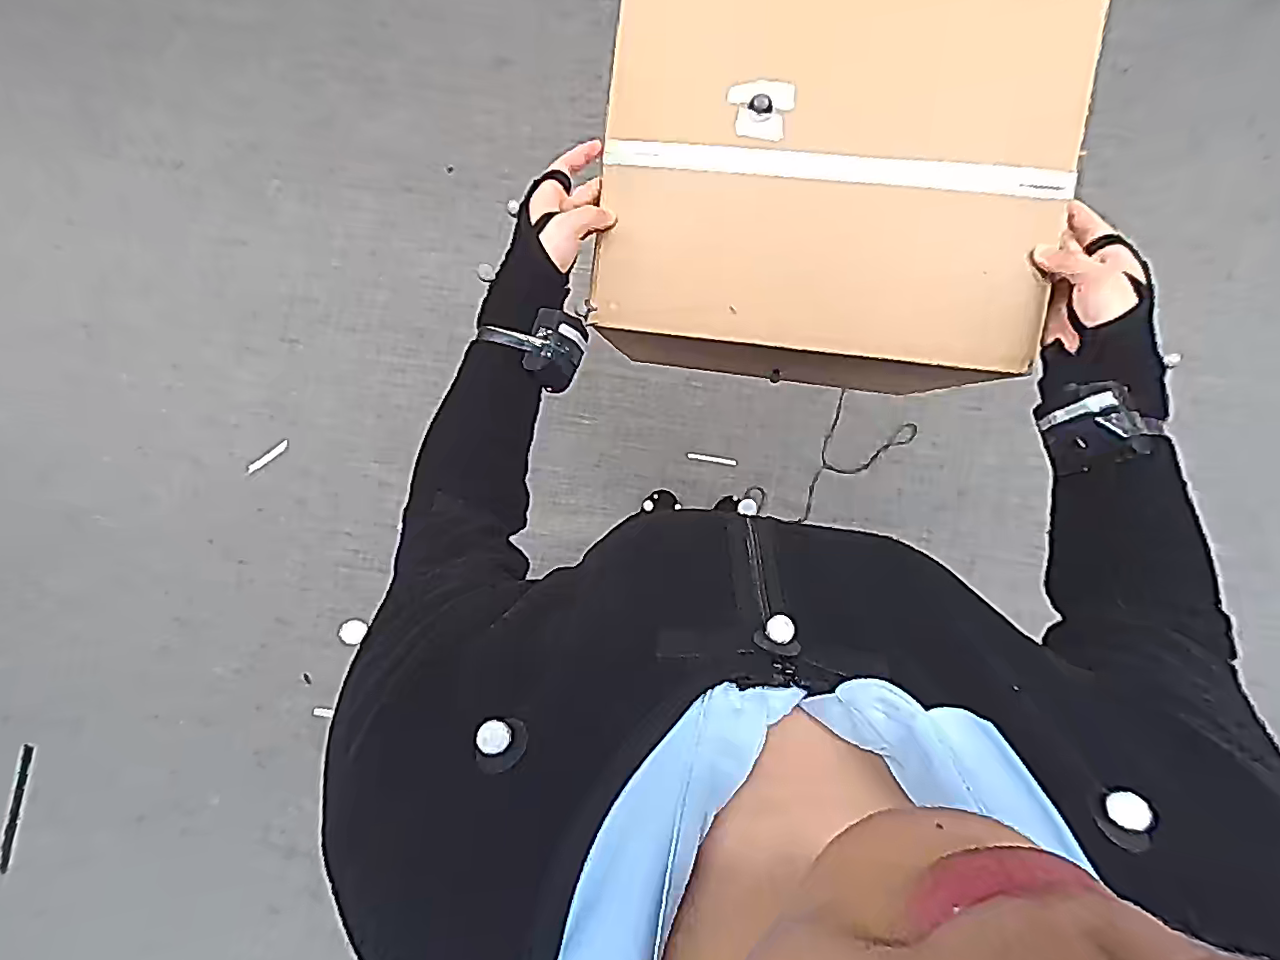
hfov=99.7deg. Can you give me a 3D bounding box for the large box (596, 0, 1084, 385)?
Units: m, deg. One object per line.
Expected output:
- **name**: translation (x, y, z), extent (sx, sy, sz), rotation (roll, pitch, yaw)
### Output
- **large box**: translation (0.187, -0.292, 0.642), extent (0.408, 0.320, 0.320), rotation (7, 95, 7)
